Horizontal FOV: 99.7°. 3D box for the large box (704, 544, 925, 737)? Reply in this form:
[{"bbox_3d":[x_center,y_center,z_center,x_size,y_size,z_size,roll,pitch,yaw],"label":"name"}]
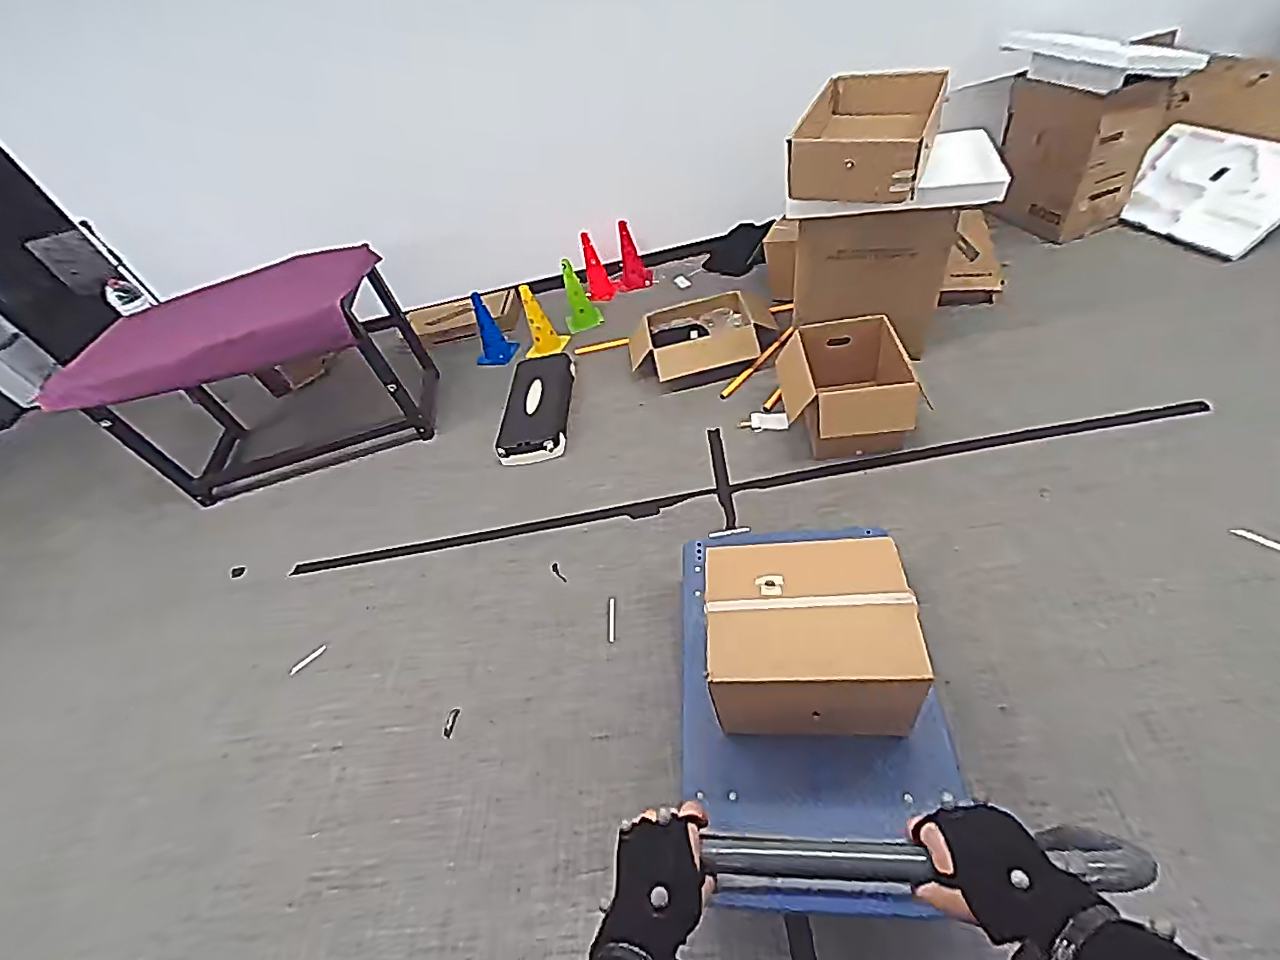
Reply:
[{"bbox_3d":[0.367,0.372,1.221,0.408,0.320,0.320,-6,46,12],"label":"large box"}]
